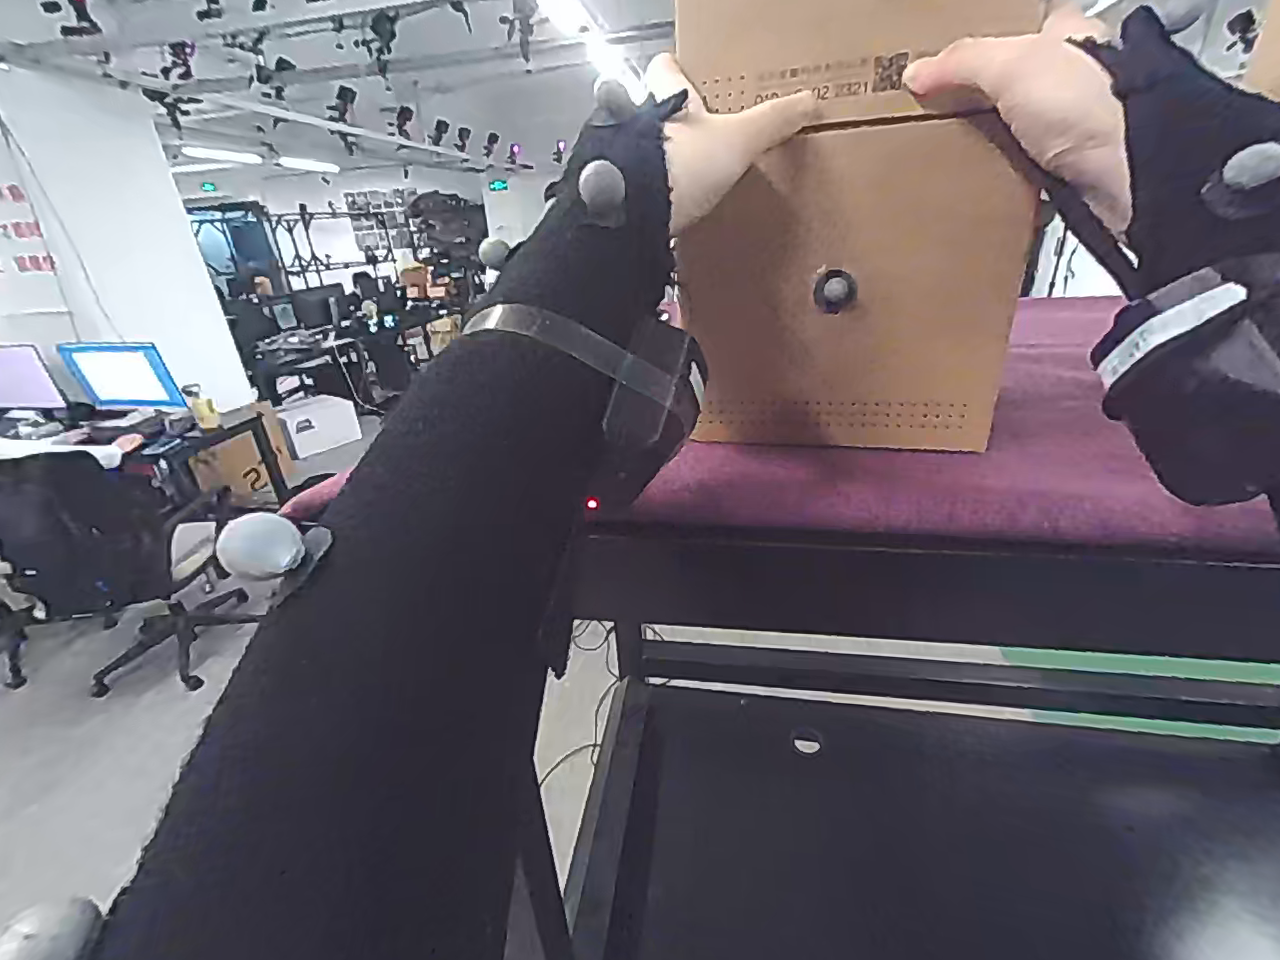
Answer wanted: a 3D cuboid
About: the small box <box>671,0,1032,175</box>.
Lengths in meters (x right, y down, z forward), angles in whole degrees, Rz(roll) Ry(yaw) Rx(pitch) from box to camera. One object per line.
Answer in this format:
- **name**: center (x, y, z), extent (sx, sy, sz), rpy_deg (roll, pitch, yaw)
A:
- **small box**: center (0.113, -0.283, 0.308), extent (0.168, 0.176, 0.179), rpy_deg (3, 26, 16)
